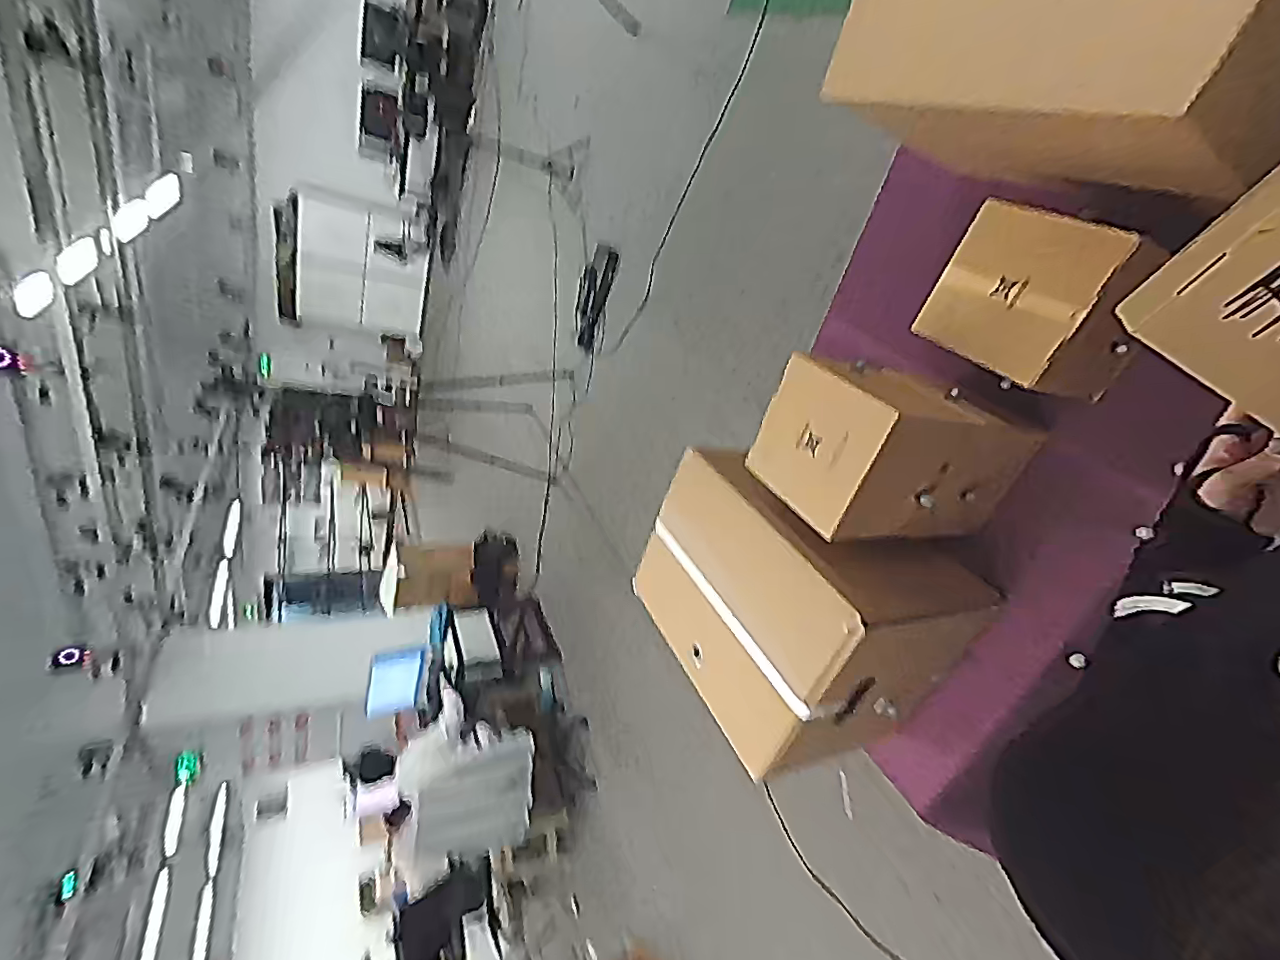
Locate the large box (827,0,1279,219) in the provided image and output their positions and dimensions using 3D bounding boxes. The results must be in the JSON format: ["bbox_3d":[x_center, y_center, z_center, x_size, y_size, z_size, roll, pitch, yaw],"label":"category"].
[{"bbox_3d":[0.491,-0.503,0.551,0.408,0.320,0.320,51,130,45],"label":"large box"}]
